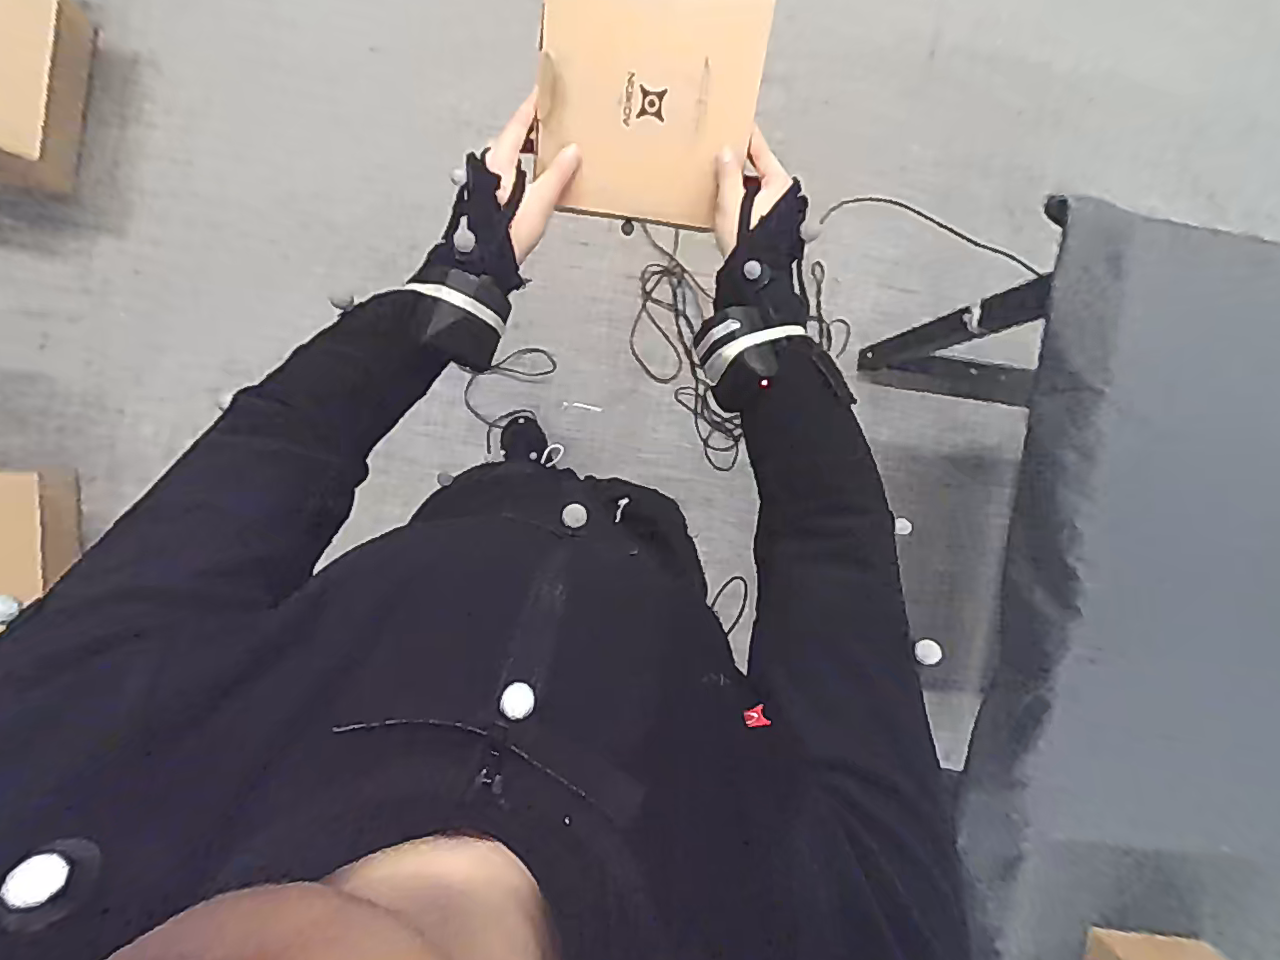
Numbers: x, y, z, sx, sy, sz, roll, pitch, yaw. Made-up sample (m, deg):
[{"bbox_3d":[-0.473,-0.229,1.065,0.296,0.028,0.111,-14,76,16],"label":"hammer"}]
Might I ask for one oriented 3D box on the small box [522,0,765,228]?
[{"bbox_3d":[-0.005,-0.331,0.495,0.179,0.176,0.168,5,115,-5],"label":"small box"}]
